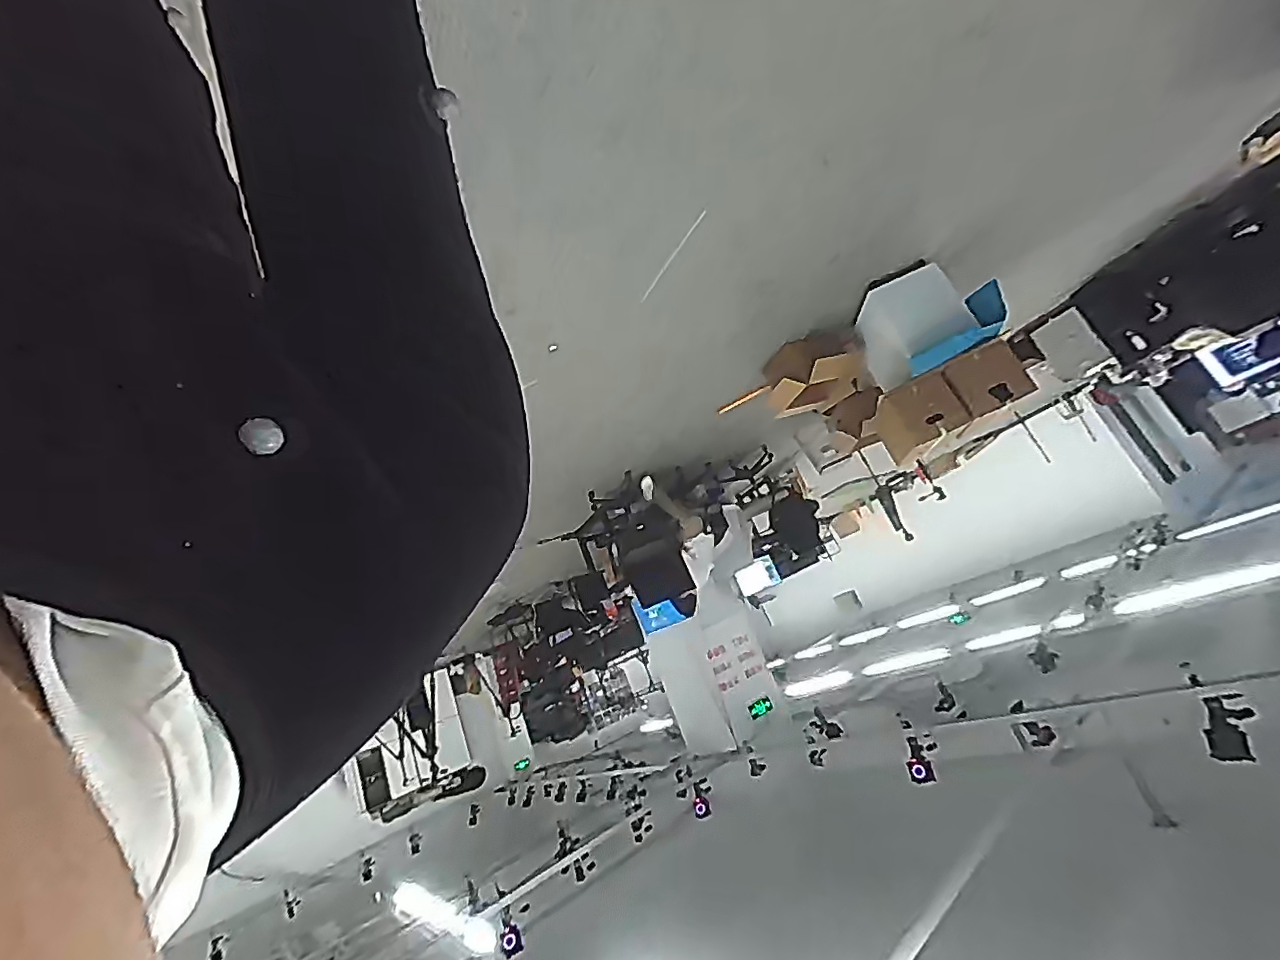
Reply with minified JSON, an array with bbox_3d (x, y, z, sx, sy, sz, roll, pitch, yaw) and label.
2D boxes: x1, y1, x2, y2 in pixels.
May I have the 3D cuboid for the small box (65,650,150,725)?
[{"bbox_3d":[-1.699,0.658,1.727,0.168,0.176,0.179,-9,158,-37],"label":"small box"}]
